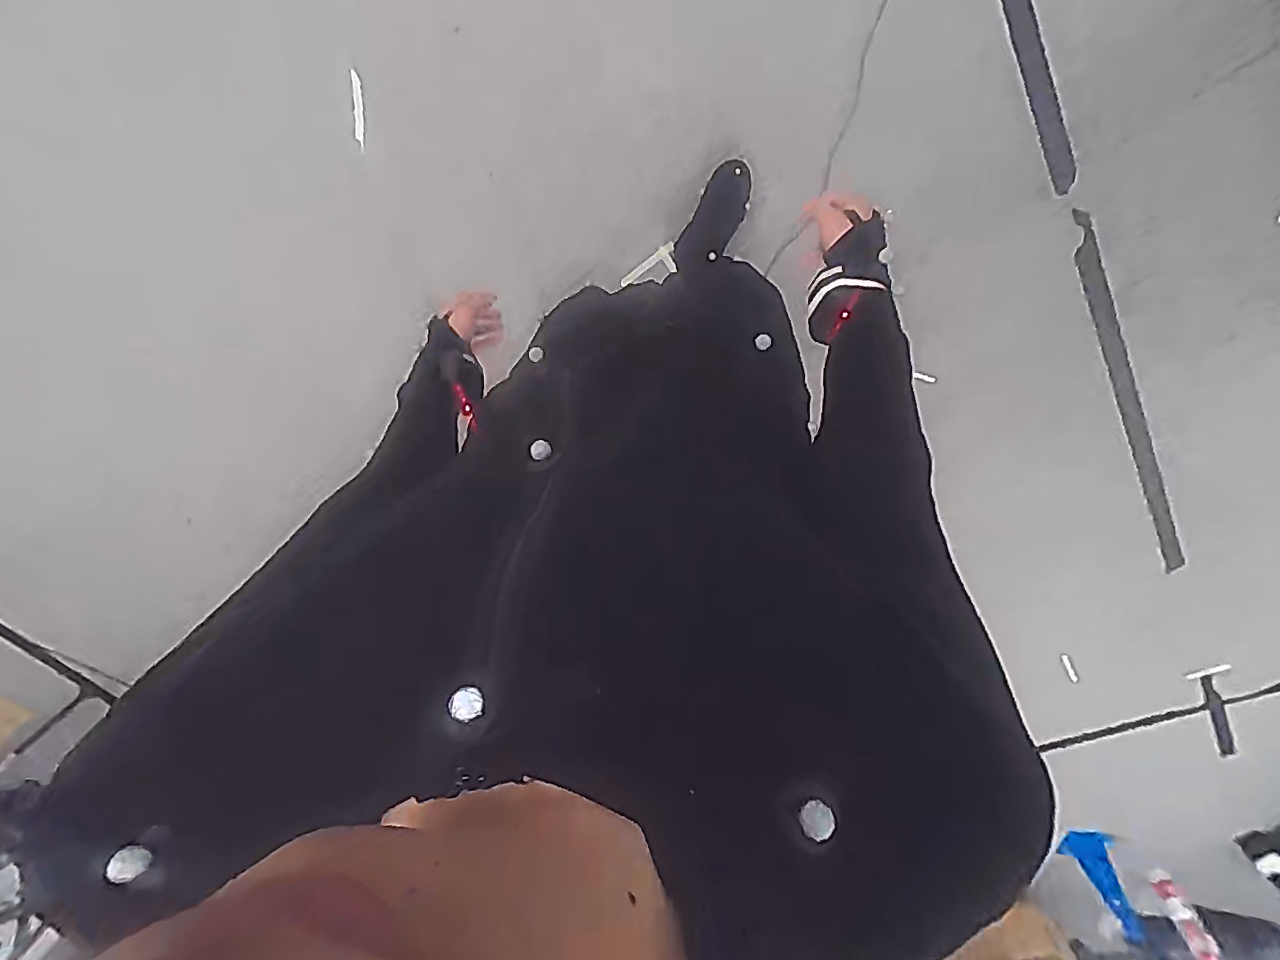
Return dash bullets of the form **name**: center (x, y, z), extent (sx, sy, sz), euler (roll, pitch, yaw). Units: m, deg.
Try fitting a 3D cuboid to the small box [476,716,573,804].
- **small box**: center (-0.308, 0.781, 1.479), extent (0.179, 0.176, 0.168), euler (-26, 115, 21)
